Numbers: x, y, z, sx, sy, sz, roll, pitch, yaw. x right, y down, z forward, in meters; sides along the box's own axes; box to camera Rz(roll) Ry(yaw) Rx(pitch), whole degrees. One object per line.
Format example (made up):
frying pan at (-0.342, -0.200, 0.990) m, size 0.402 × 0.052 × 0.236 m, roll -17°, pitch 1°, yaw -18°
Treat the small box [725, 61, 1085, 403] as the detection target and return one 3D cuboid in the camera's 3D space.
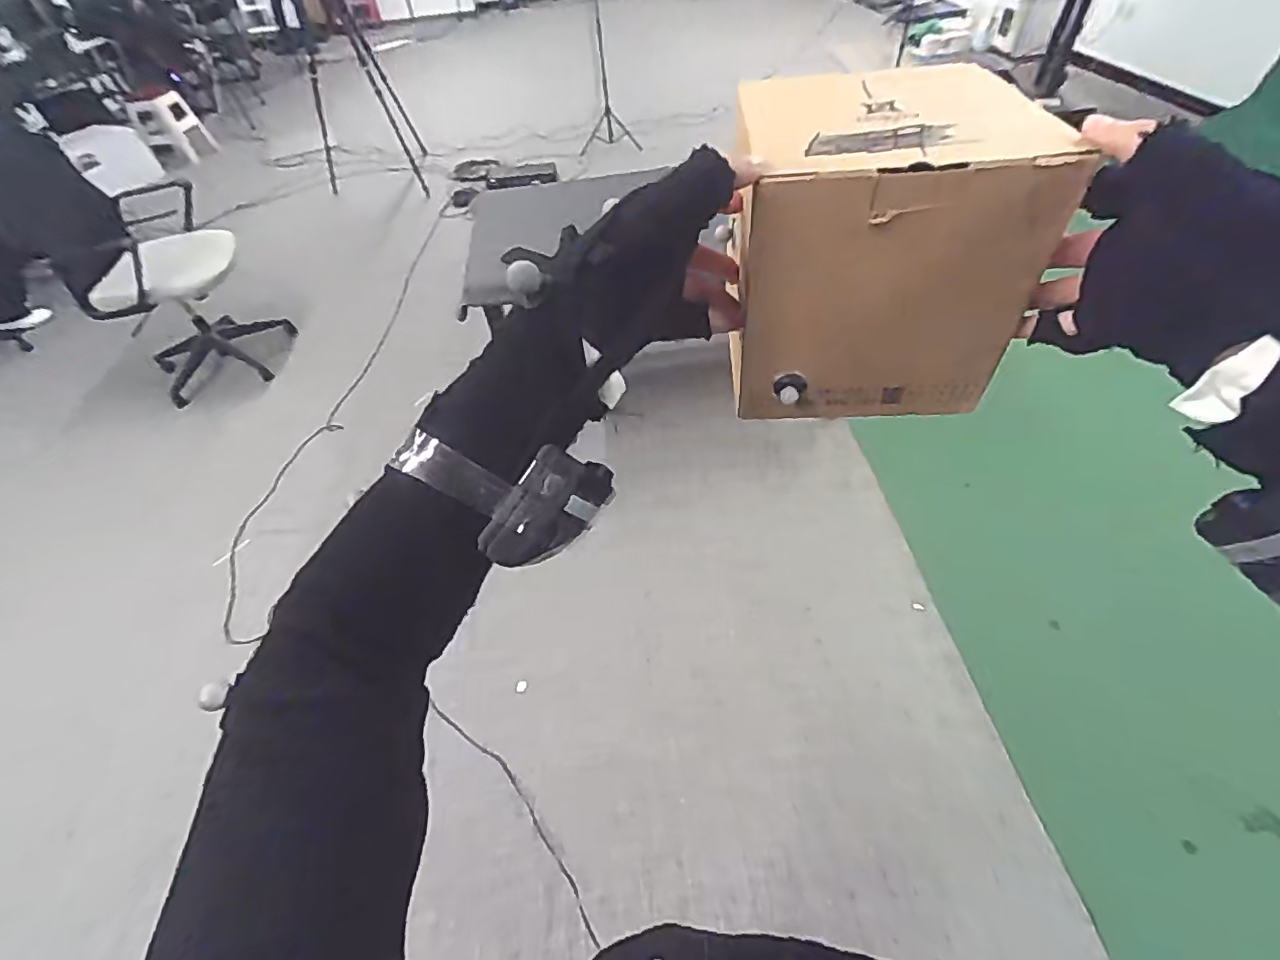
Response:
small box at (0.149, -0.168, 0.385) m, size 0.168 × 0.176 × 0.179 m, roll -1°, pitch 49°, yaw 5°
